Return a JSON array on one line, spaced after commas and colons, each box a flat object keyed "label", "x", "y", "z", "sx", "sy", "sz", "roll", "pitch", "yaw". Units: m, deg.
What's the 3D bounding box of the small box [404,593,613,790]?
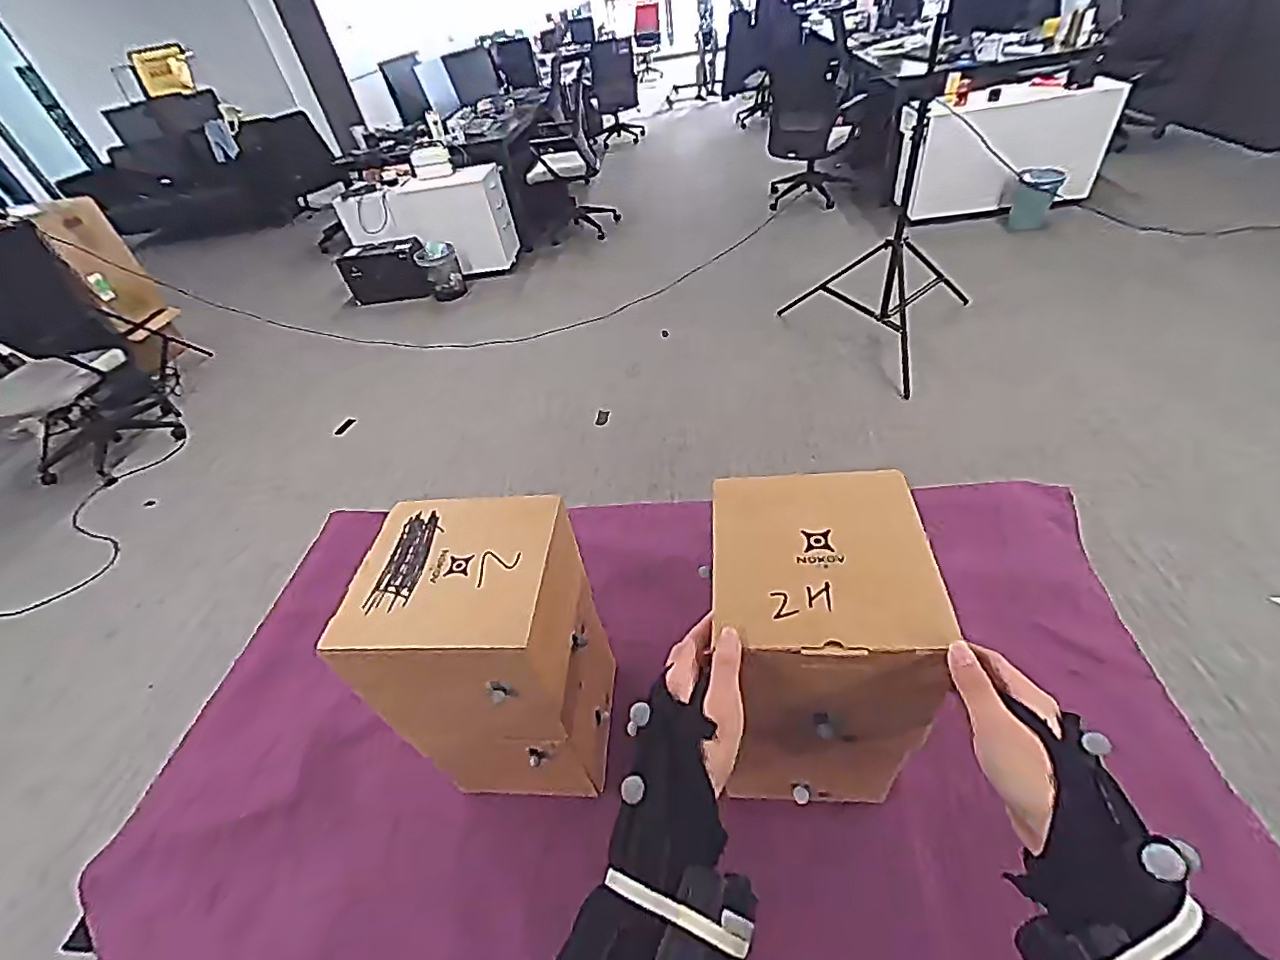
[{"label": "small box", "x": -0.138, "y": 0.252, "z": 0.643, "sx": 0.179, "sy": 0.176, "sz": 0.168, "roll": -3, "pitch": 43, "yaw": 7}]

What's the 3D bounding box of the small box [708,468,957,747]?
[{"label": "small box", "x": 0.151, "y": 0.110, "z": 0.482, "sx": 0.168, "sy": 0.176, "sz": 0.179, "roll": -3, "pitch": 42, "yaw": 12}]

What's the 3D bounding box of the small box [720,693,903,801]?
[{"label": "small box", "x": 0.173, "y": 0.229, "z": 0.602, "sx": 0.168, "sy": 0.176, "sz": 0.179, "roll": -2, "pitch": 44, "yaw": 9}]
